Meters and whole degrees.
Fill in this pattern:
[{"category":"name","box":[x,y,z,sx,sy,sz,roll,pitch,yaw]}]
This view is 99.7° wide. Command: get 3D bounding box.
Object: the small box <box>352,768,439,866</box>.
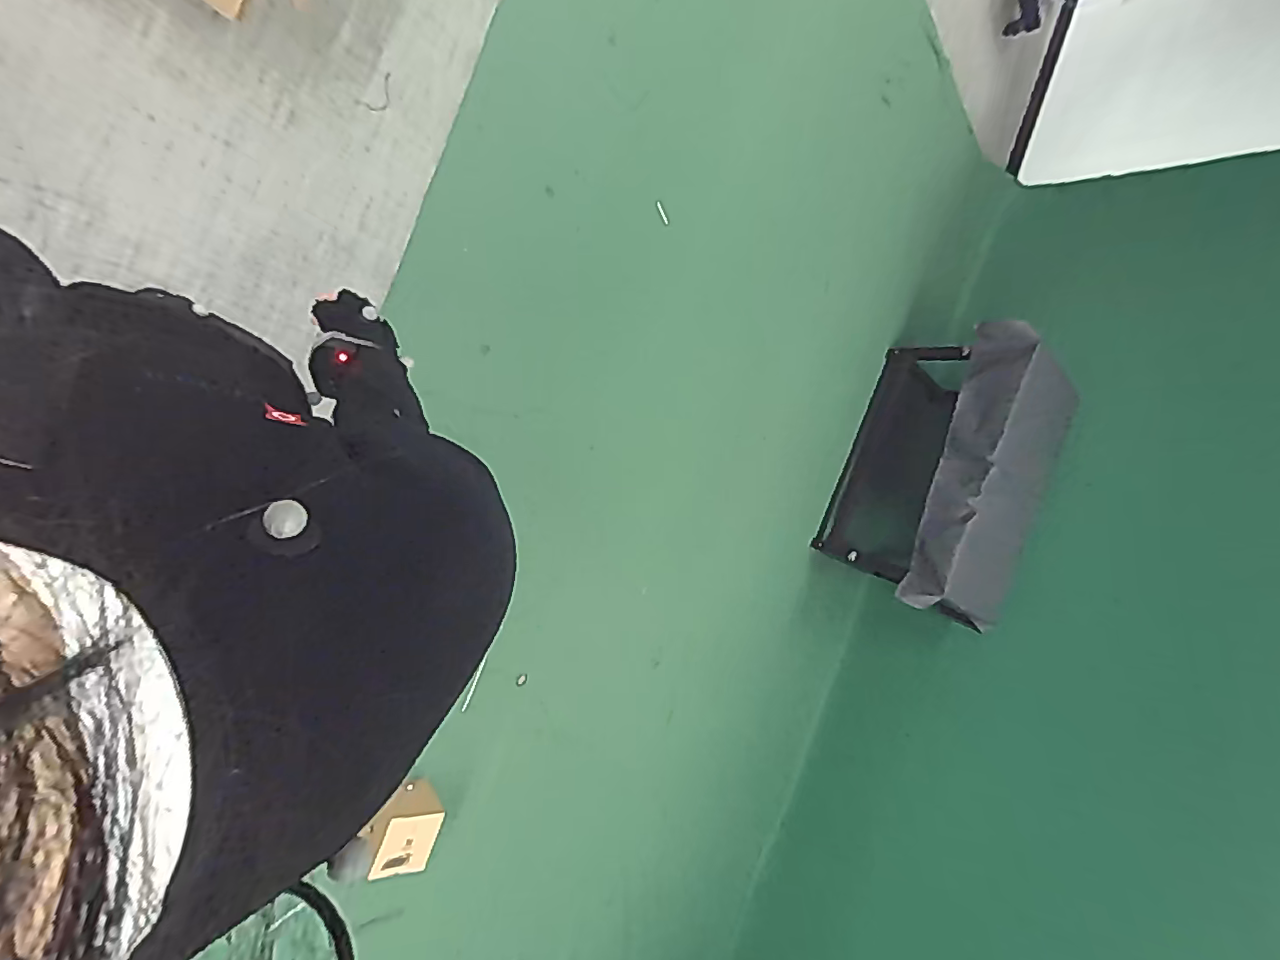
[{"category":"small box","box":[-0.730,0.988,1.601,0.168,0.176,0.179,25,86,-43]}]
